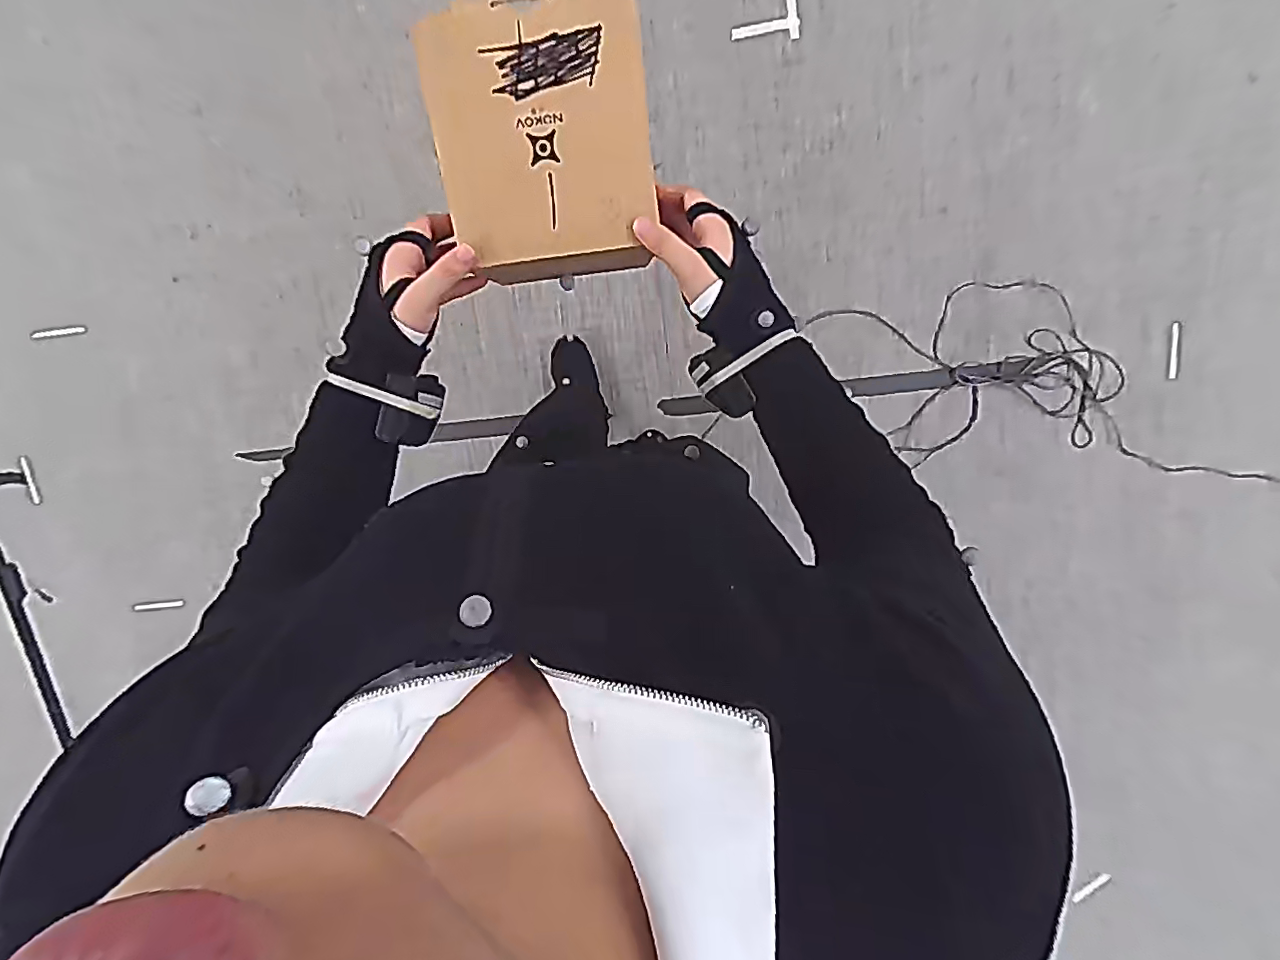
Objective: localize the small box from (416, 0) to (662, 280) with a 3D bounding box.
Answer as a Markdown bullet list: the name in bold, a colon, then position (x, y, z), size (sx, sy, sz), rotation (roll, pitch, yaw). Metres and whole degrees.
- **small box**: position (-0.077, -0.289, 0.488), size (0.168, 0.176, 0.179), rotation (-8, 106, -1)
